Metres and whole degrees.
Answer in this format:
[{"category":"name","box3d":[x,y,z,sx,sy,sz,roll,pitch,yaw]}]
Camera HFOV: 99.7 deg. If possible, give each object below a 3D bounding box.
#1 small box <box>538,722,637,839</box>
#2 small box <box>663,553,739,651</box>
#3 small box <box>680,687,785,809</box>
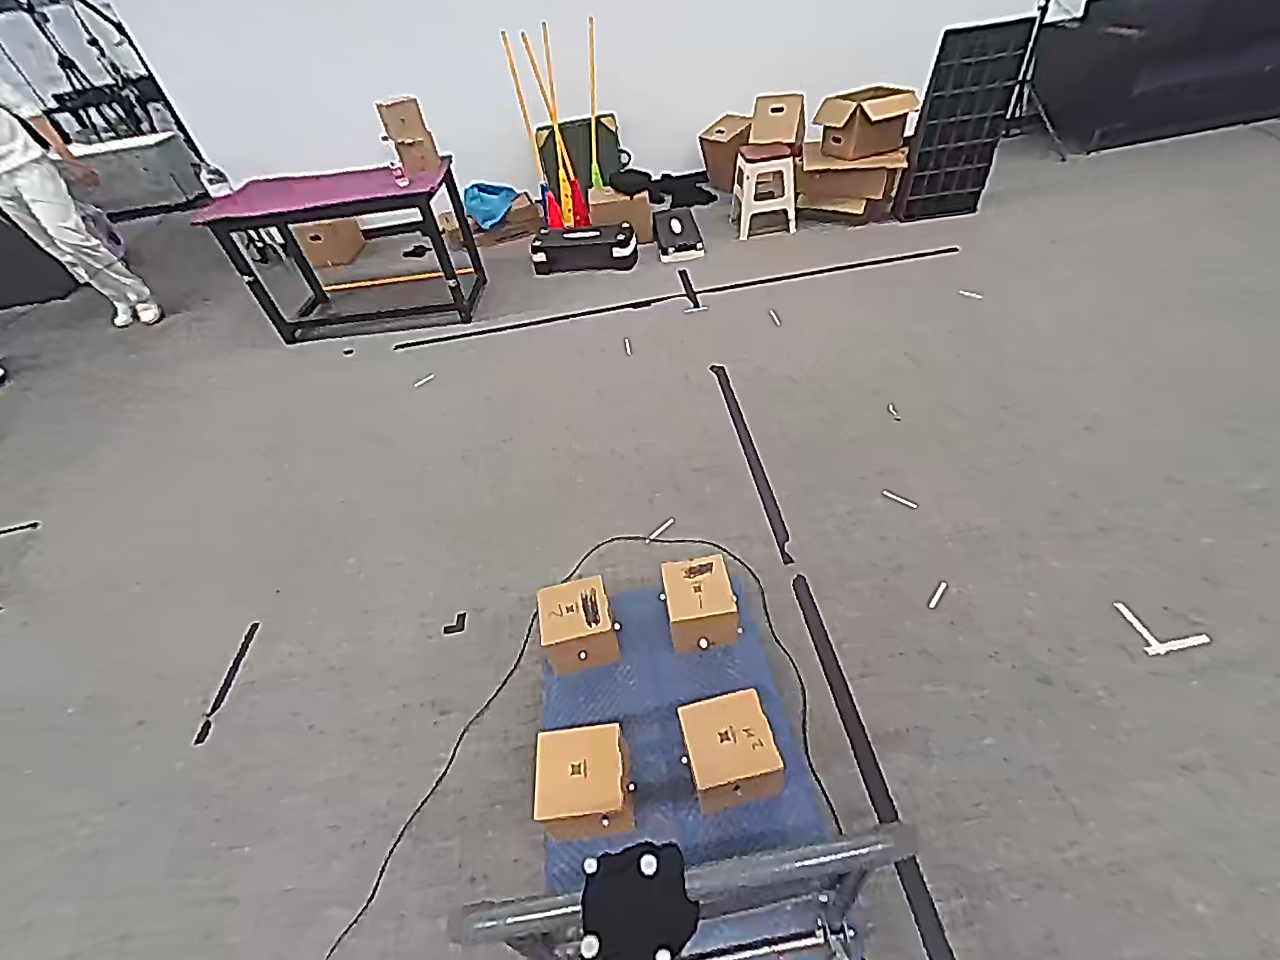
[{"category":"small box","box3d":[-0.108,0.638,1.143,0.179,0.176,0.168,-8,44,0]},{"category":"small box","box3d":[0.156,0.320,1.414,0.168,0.176,0.179,-10,46,0]},{"category":"small box","box3d":[0.195,0.575,1.154,0.179,0.176,0.168,-13,45,-4]}]
